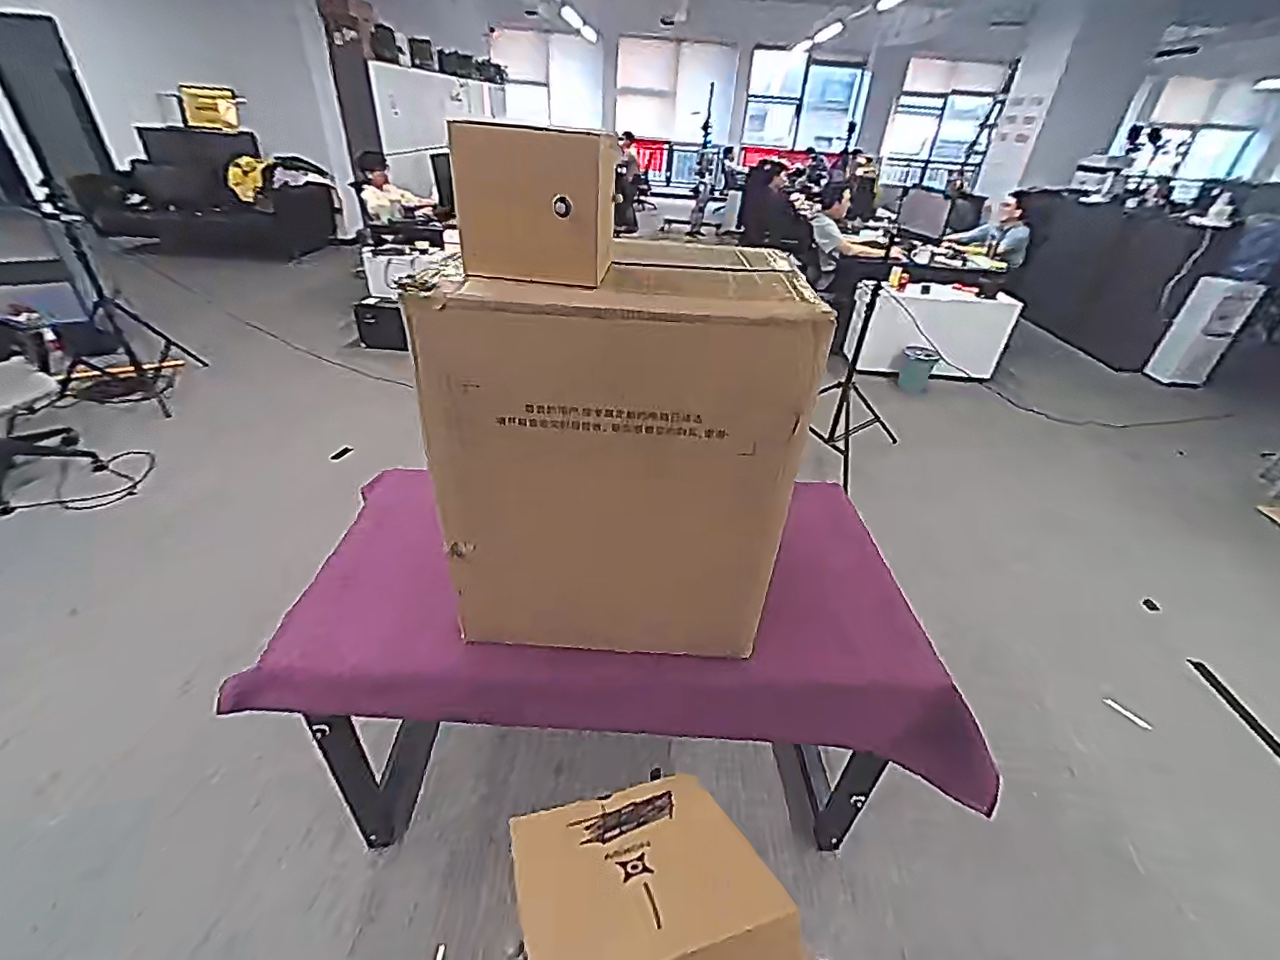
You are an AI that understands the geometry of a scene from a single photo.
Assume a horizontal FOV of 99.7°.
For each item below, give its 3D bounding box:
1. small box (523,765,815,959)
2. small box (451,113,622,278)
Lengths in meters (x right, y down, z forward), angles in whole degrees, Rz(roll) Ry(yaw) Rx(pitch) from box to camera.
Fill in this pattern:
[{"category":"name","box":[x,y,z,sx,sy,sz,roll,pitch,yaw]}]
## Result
[{"category":"small box","box":[0.009,0.344,0.388,0.168,0.176,0.179,-5,0,-17]},{"category":"small box","box":[-0.122,-0.368,0.700,0.179,0.176,0.168,5,33,1]}]
